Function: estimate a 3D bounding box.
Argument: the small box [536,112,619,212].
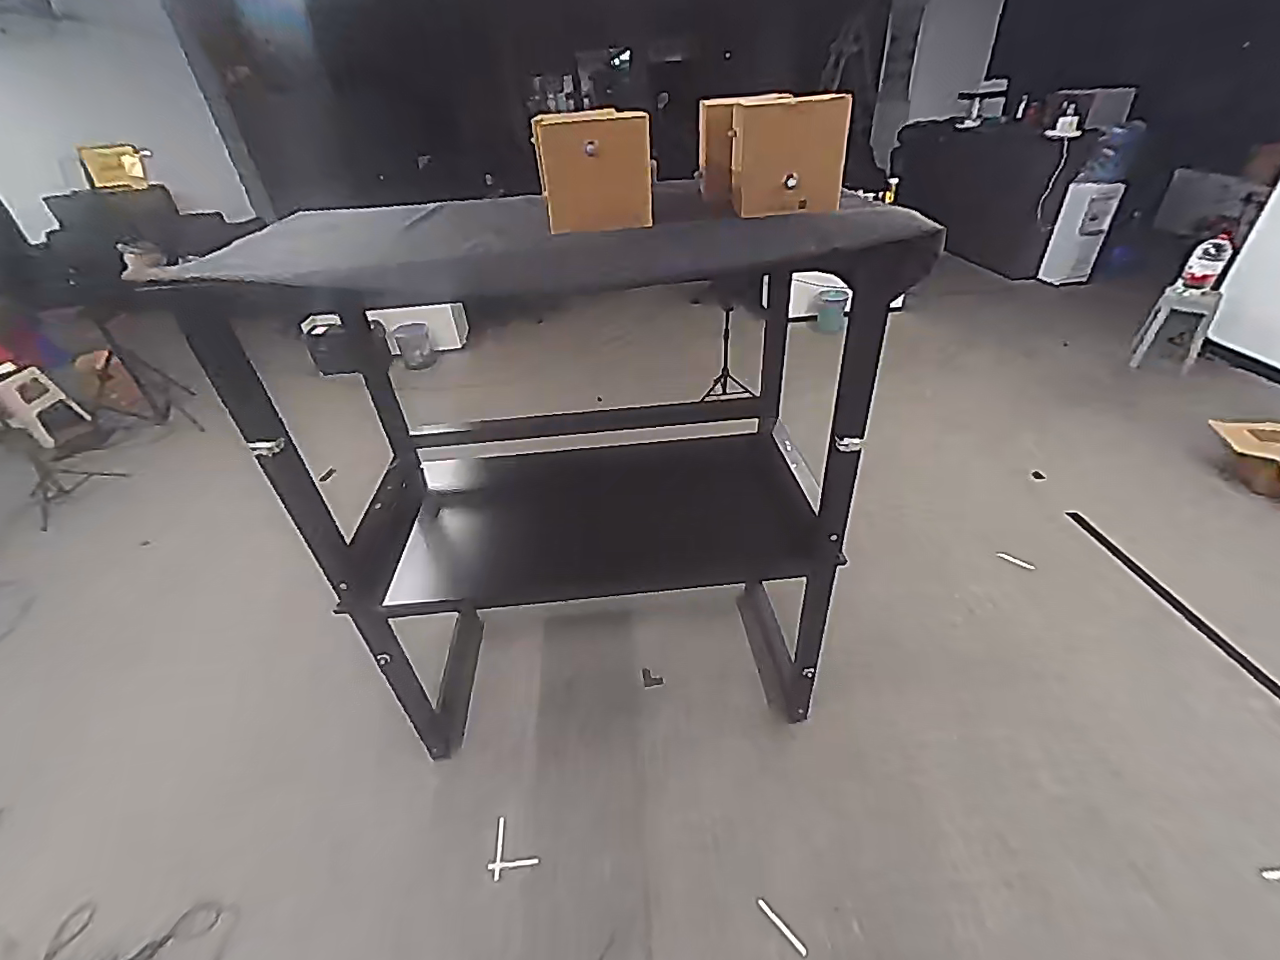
[{"bbox_3d":[-0.120,-0.678,1.155,0.168,0.176,0.179,-6,36,-1],"label":"small box"}]

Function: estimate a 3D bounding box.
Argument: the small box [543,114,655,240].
[{"bbox_3d":[-0.066,-0.535,0.954,0.179,0.176,0.168,-6,36,-1],"label":"small box"}]

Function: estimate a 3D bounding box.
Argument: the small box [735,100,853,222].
[{"bbox_3d":[0.257,-0.560,0.950,0.168,0.176,0.179,-2,36,5],"label":"small box"}]
